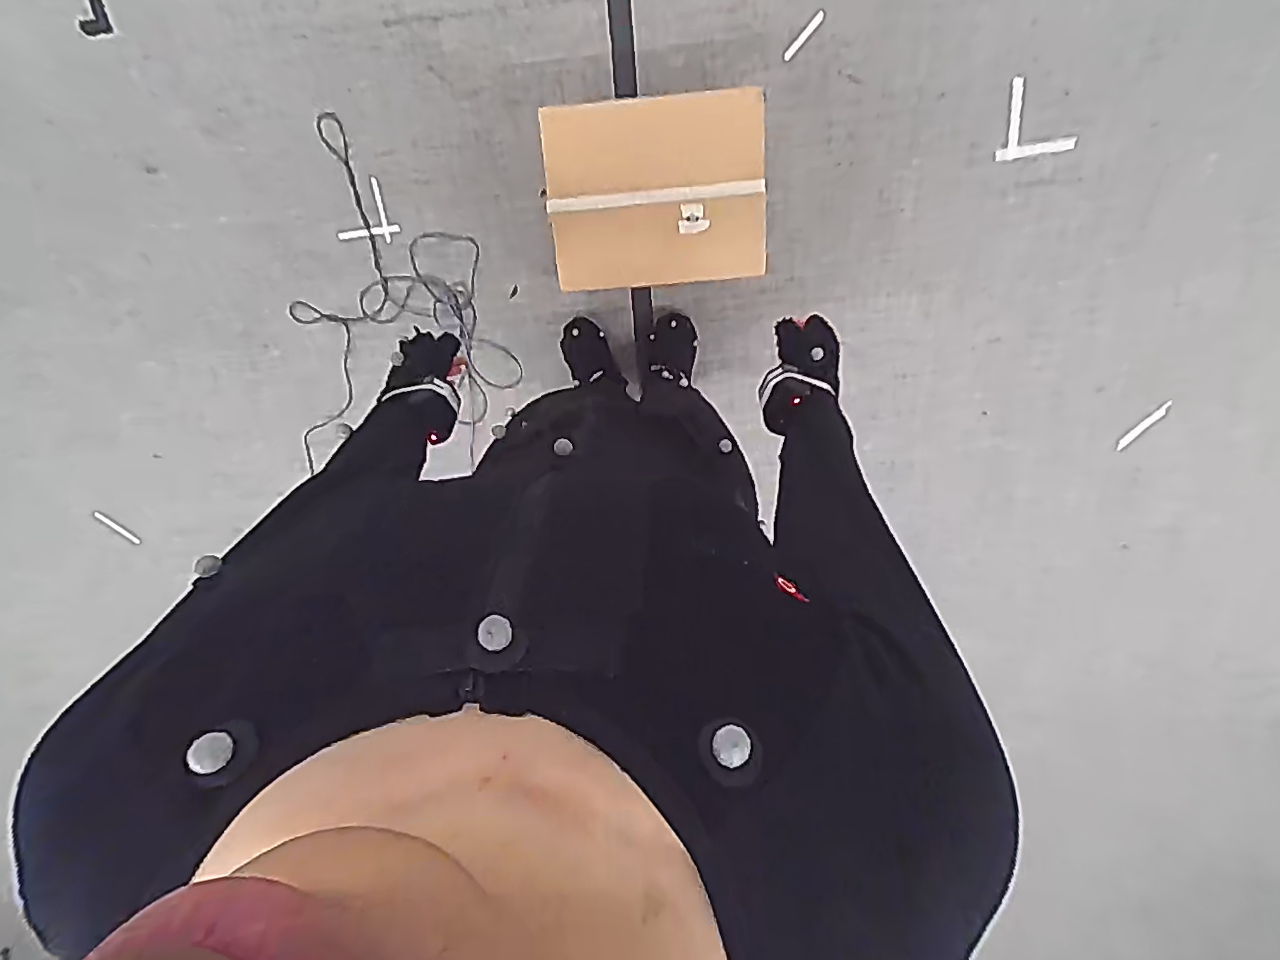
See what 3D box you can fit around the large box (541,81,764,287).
[{"bbox_3d":[0.031,-0.597,1.155,0.408,0.320,0.320,-4,111,2],"label":"large box"}]
